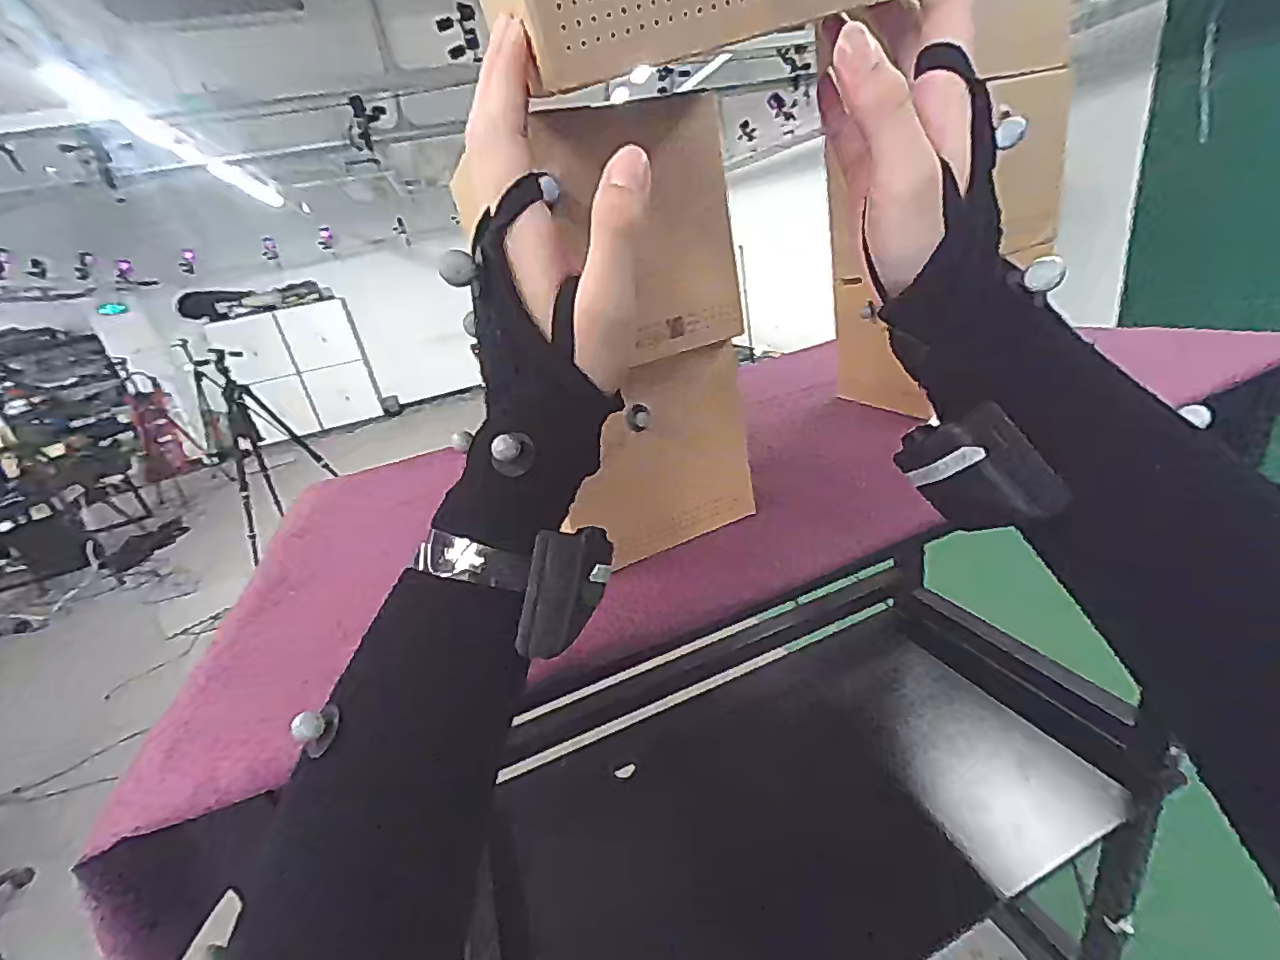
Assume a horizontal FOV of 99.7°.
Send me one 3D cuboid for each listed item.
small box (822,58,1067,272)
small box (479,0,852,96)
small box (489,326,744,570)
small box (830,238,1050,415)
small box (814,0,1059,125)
[{"bbox_3d":[0.333,-0.335,0.610,0.179,0.176,0.168,-18,23,-15],"label":"small box"},{"bbox_3d":[0.001,-0.293,0.238,0.179,0.176,0.168,-20,38,-6],"label":"small box"},{"bbox_3d":[-0.022,-0.040,0.511,0.179,0.176,0.168,-20,24,-18],"label":"small box"},{"bbox_3d":[0.366,-0.190,0.679,0.168,0.176,0.179,-17,22,-12],"label":"small box"},{"bbox_3d":[0.300,-0.487,0.560,0.179,0.176,0.168,-17,23,-13],"label":"small box"}]
